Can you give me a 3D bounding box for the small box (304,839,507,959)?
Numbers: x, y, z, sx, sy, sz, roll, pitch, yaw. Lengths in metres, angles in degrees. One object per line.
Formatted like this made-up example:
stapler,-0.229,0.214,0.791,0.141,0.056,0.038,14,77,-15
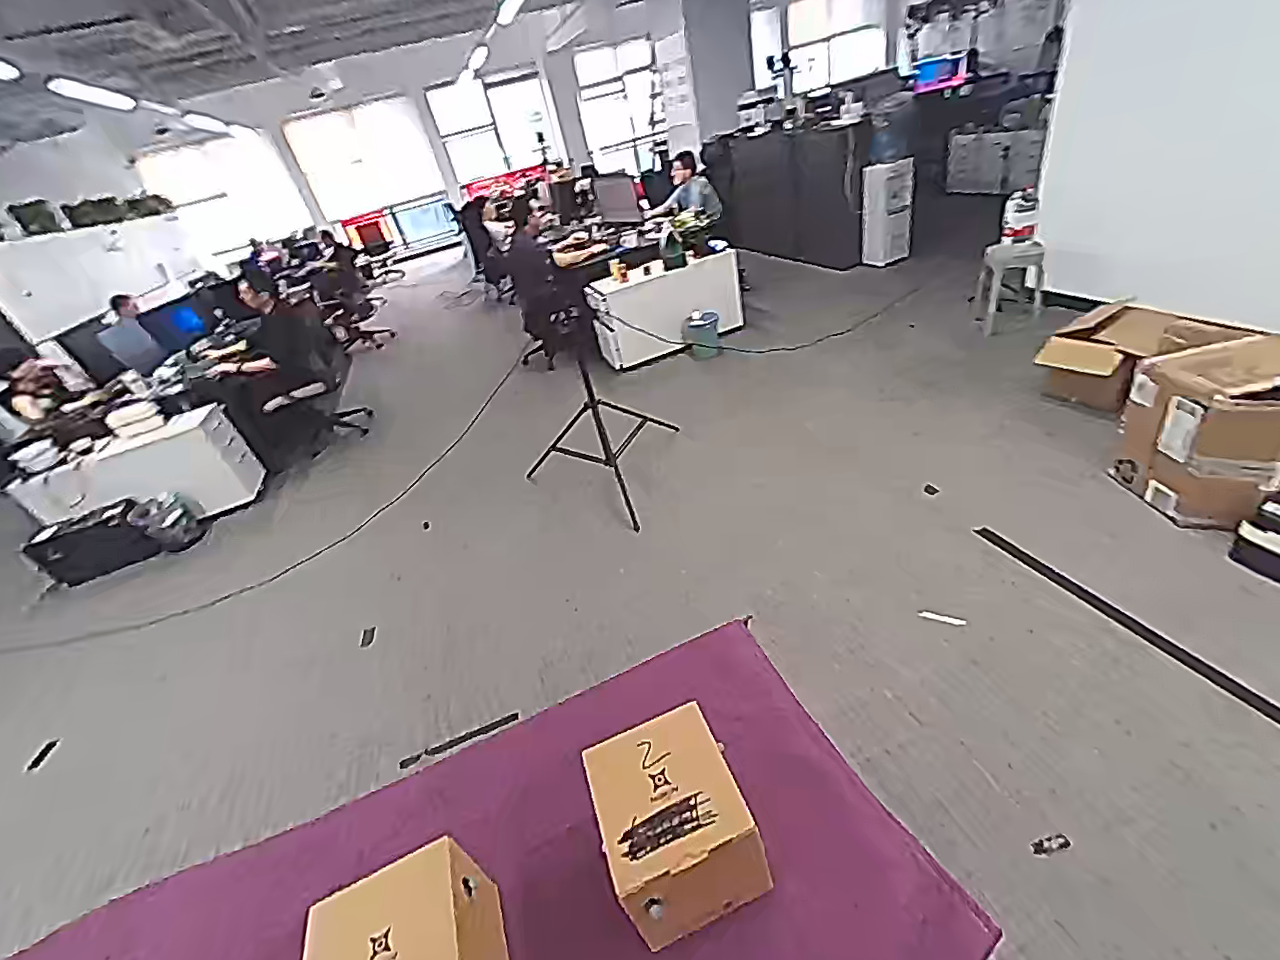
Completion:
small box,-0.255,0.564,0.609,0.168,0.176,0.179,-23,34,-12
